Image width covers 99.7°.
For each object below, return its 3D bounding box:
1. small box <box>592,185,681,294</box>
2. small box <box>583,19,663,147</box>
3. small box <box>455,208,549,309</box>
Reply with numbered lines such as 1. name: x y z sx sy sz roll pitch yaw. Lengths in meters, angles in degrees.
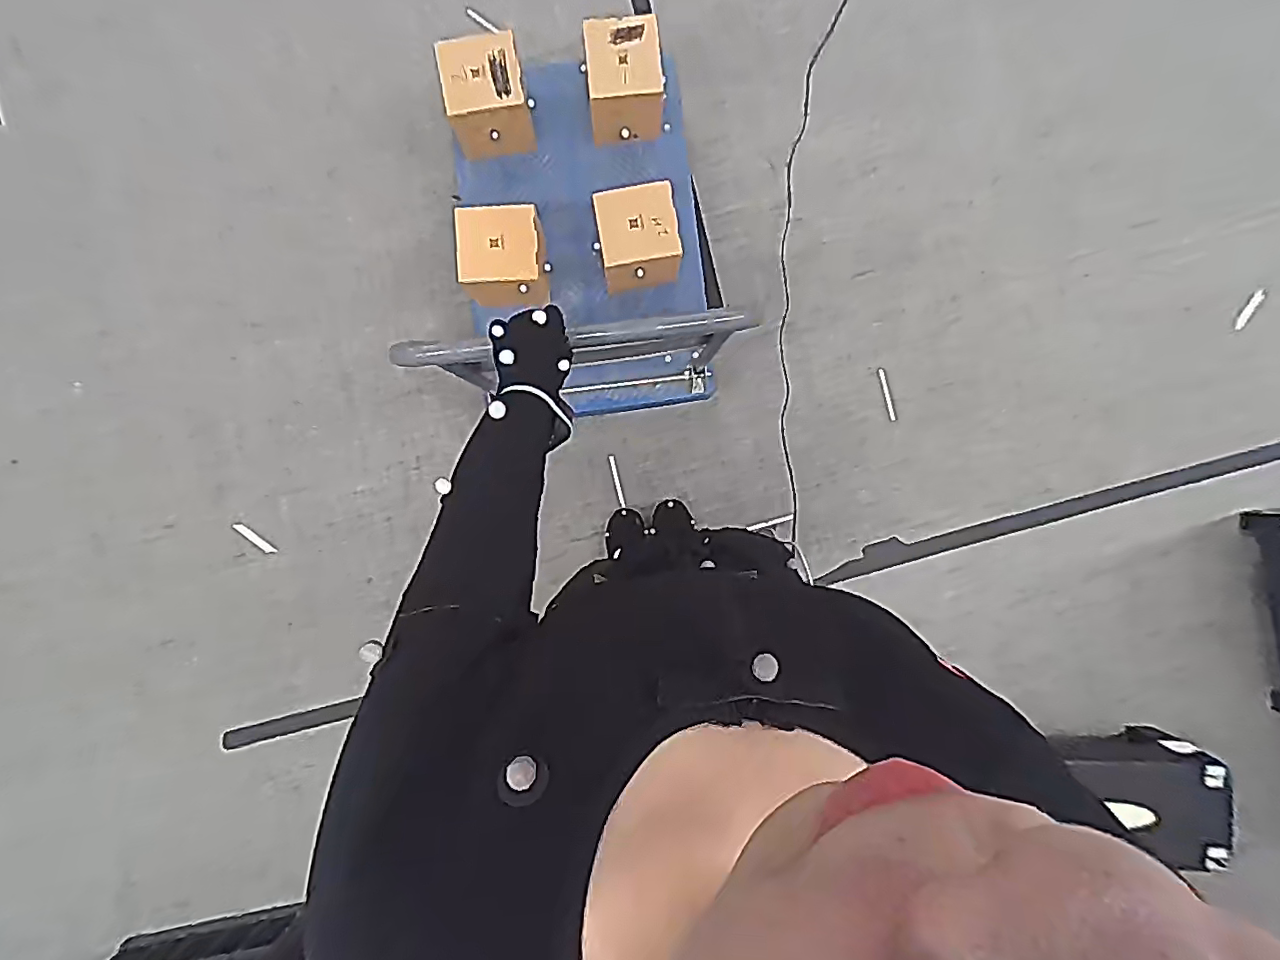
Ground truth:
1. small box: -0.007 -0.551 1.259 0.179 0.176 0.168 -10 89 -1
2. small box: -0.040 -0.920 1.265 0.168 0.176 0.179 -6 90 -1
3. small box: -0.314 -0.505 1.255 0.179 0.176 0.168 -4 89 -2
